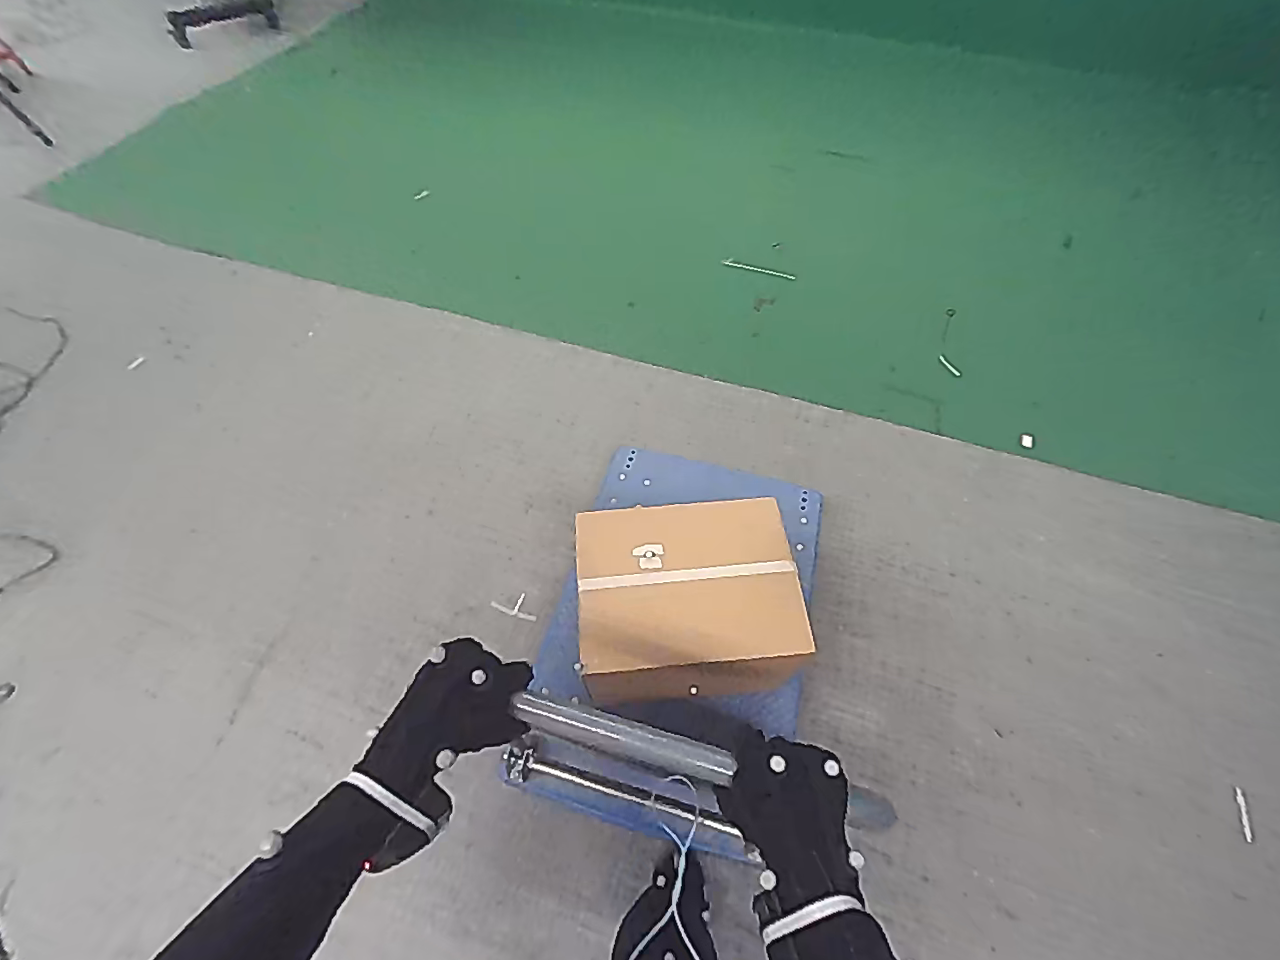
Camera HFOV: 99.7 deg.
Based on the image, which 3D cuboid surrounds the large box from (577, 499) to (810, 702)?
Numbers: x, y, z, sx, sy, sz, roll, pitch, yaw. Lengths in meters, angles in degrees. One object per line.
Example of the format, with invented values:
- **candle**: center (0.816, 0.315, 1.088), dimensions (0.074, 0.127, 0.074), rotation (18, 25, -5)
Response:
- **large box**: center (0.091, 0.263, 1.136), dimensions (0.408, 0.320, 0.320), rotation (-5, 57, -2)
